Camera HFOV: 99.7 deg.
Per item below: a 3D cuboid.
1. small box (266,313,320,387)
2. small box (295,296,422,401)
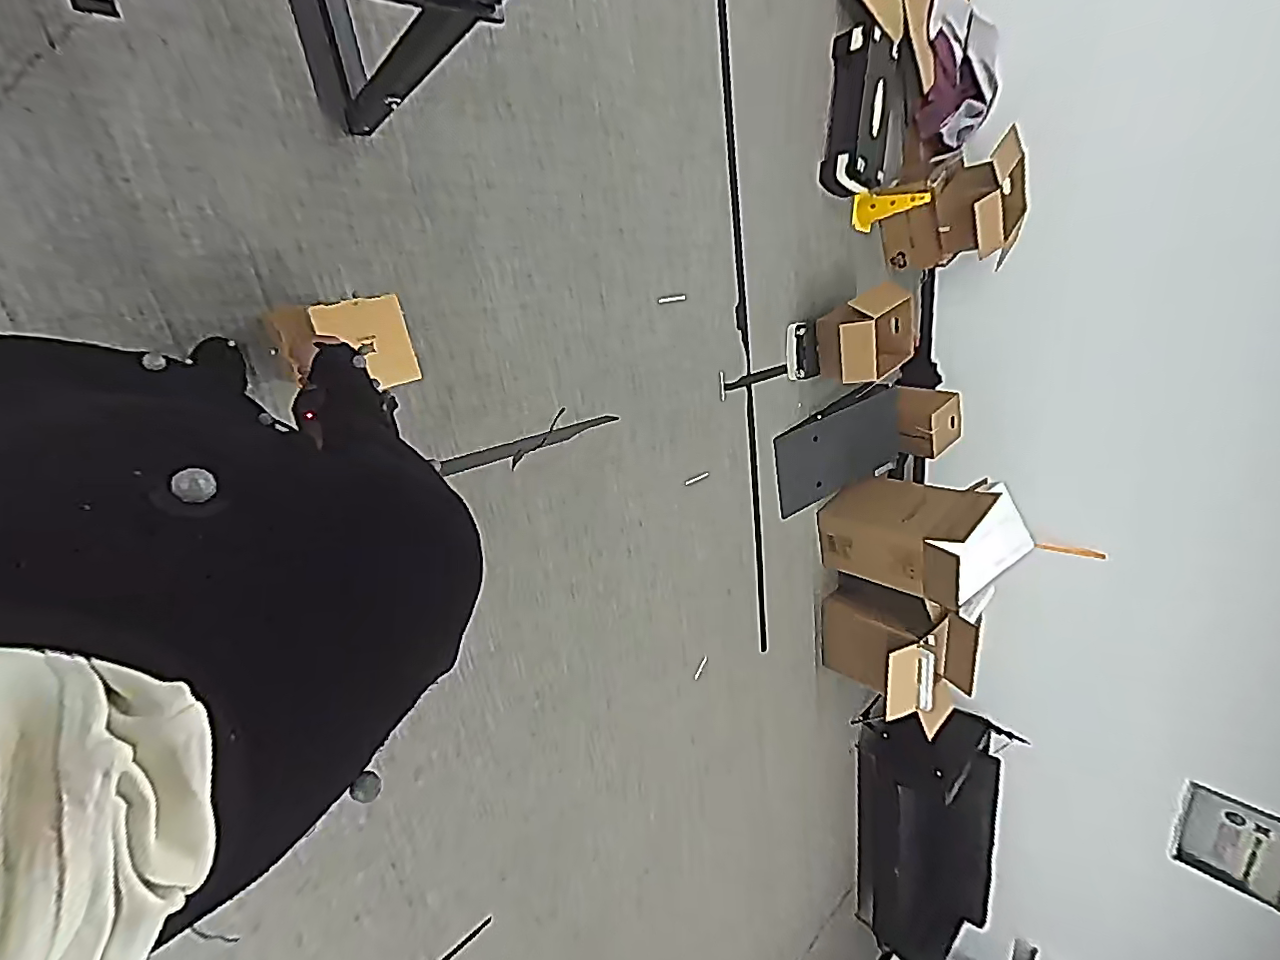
[{"bbox_3d":[-0.797,-0.336,1.349,0.179,0.176,0.168,-24,115,-35],"label":"small box"},{"bbox_3d":[-0.579,-0.275,1.113,0.168,0.176,0.179,-26,117,-35],"label":"small box"}]
